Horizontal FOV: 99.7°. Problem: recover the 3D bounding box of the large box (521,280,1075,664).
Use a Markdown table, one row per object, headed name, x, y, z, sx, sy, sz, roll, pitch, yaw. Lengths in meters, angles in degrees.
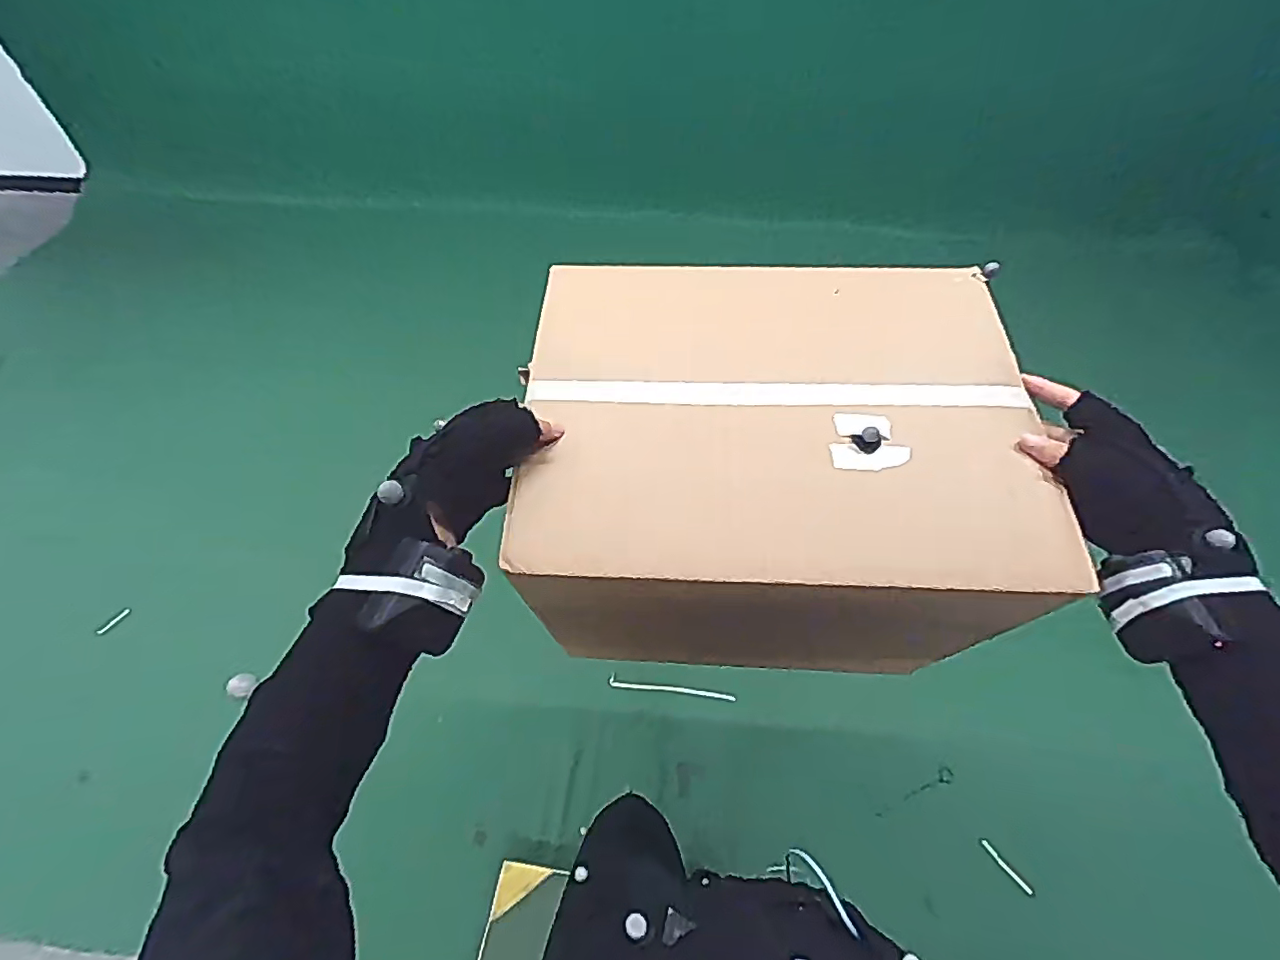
| name | x | y | z | sx | sy | sz | roll | pitch | yaw |
| --- | --- | --- | --- | --- | --- | --- | --- | --- | --- |
| large box | 0.115 | 0.010 | 0.586 | 0.408 | 0.320 | 0.320 | 1 | 61 | 2 |
